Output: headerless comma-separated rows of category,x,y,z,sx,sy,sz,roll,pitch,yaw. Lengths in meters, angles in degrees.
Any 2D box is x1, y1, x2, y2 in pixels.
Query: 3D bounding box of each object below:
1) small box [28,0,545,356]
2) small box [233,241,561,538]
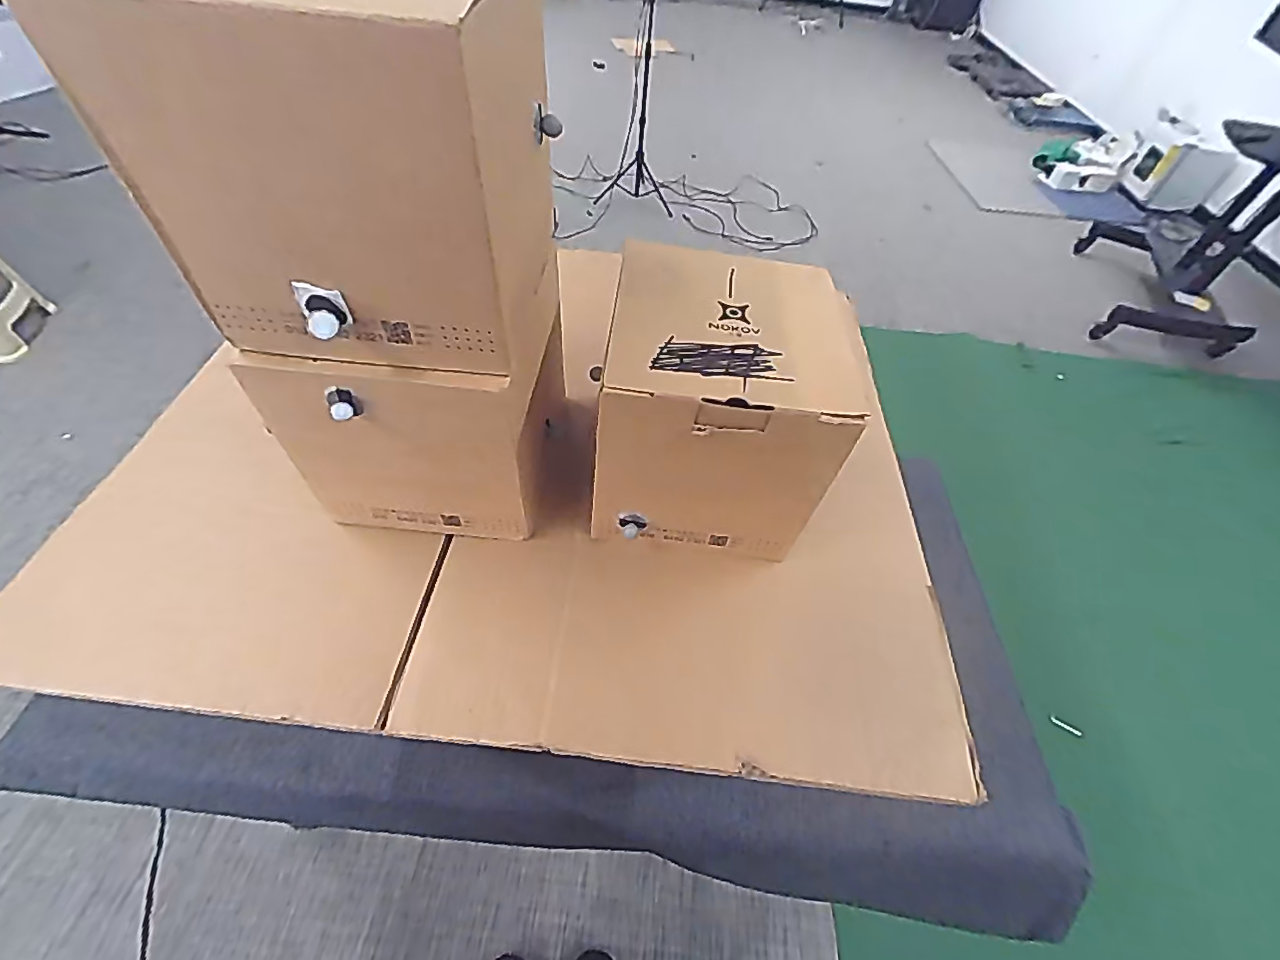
small box,-0.148,-0.194,0.299,0.168,0.176,0.179,3,53,-2
small box,-0.160,-0.077,0.433,0.168,0.176,0.179,5,51,1
